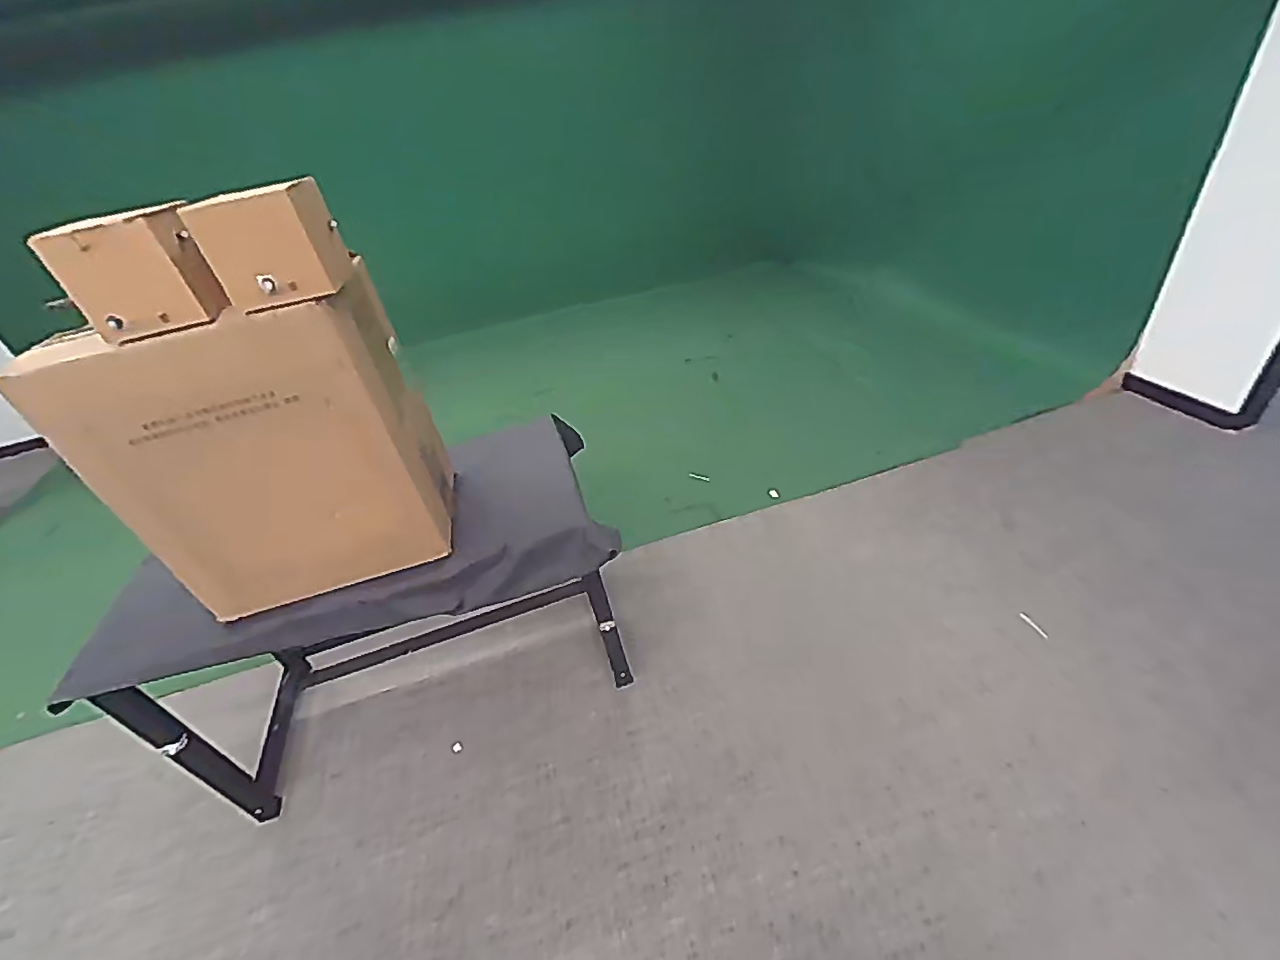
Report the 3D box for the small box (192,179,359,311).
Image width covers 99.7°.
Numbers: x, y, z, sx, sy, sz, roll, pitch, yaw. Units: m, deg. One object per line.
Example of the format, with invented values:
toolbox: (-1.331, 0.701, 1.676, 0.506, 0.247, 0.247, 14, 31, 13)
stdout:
small box: (-0.625, -0.418, 0.959, 0.168, 0.176, 0.179, -16, 38, -6)
